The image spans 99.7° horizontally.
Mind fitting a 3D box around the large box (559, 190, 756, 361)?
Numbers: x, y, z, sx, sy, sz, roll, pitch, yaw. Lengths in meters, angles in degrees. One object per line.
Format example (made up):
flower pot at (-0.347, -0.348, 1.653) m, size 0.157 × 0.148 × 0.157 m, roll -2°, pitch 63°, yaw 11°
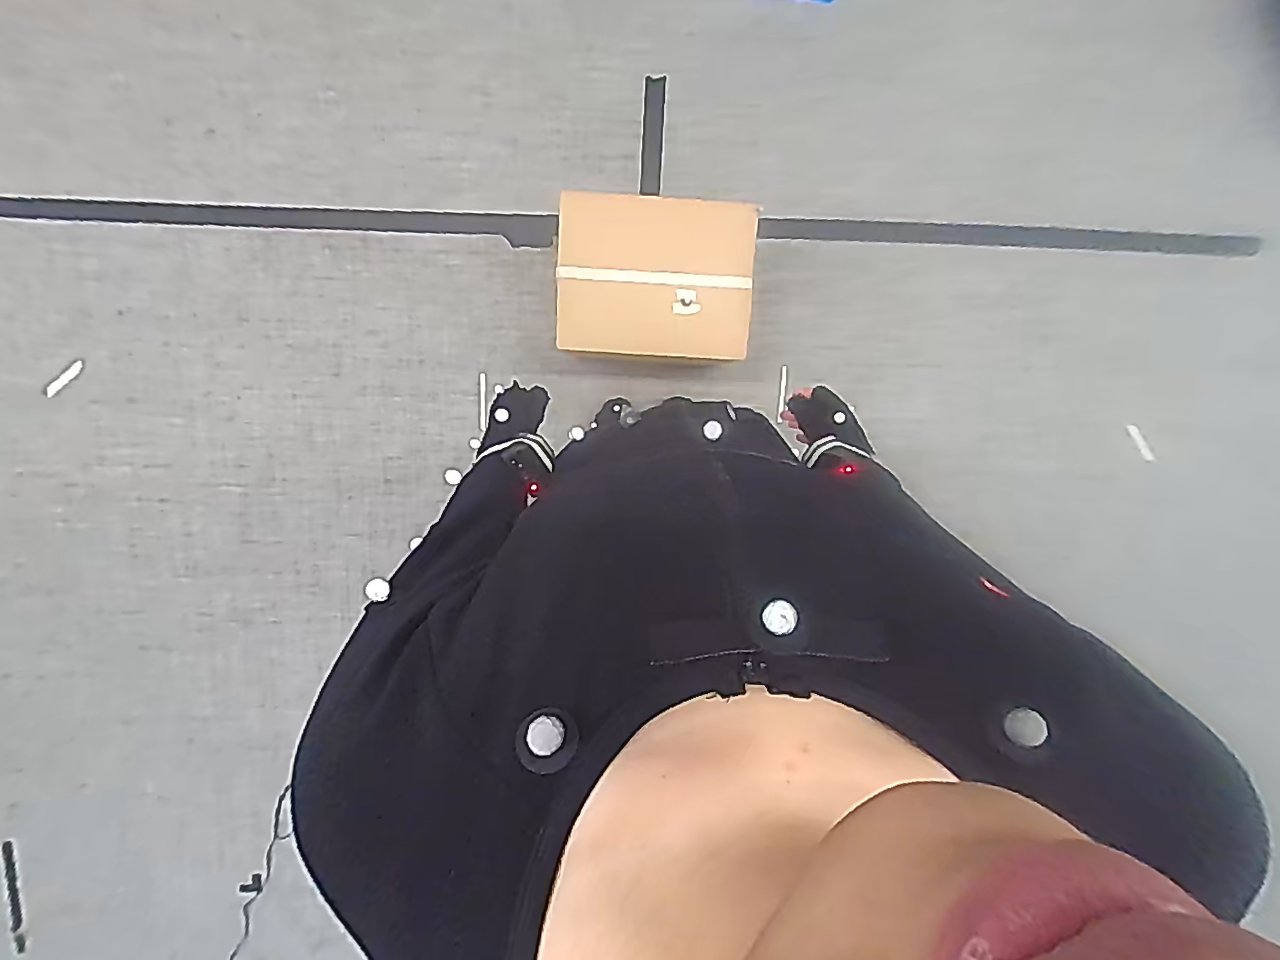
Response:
large box at (0.025, -0.448, 1.261) m, size 0.408 × 0.320 × 0.320 m, roll 2°, pitch 101°, yaw -3°
